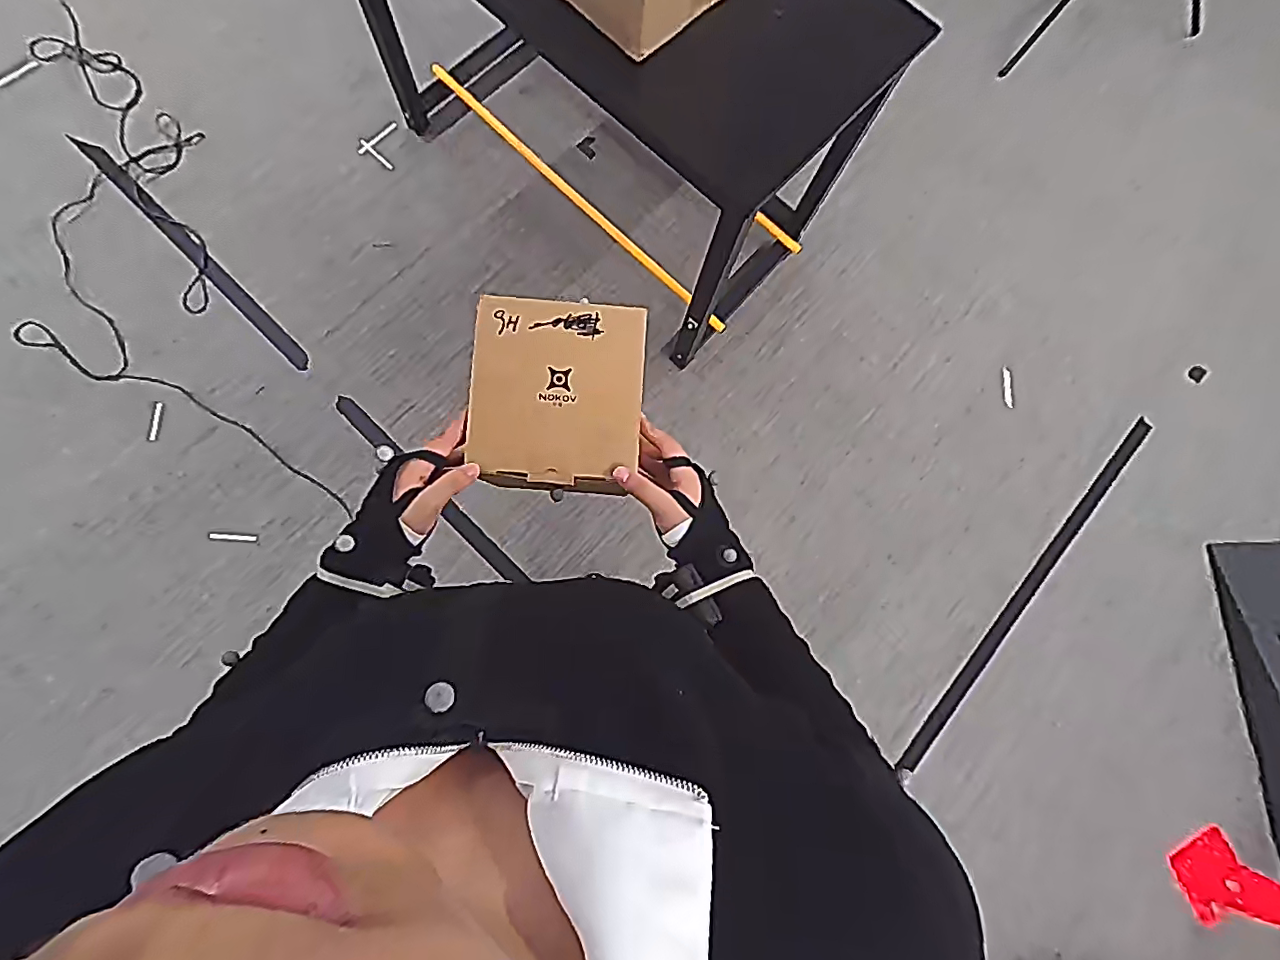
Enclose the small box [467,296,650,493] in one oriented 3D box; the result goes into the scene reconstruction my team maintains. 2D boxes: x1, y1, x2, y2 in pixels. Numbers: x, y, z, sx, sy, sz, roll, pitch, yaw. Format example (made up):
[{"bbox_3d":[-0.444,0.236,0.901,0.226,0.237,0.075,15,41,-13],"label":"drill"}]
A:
[{"bbox_3d":[-0.080,-0.079,0.592,0.168,0.176,0.179,3,85,-4],"label":"small box"}]
